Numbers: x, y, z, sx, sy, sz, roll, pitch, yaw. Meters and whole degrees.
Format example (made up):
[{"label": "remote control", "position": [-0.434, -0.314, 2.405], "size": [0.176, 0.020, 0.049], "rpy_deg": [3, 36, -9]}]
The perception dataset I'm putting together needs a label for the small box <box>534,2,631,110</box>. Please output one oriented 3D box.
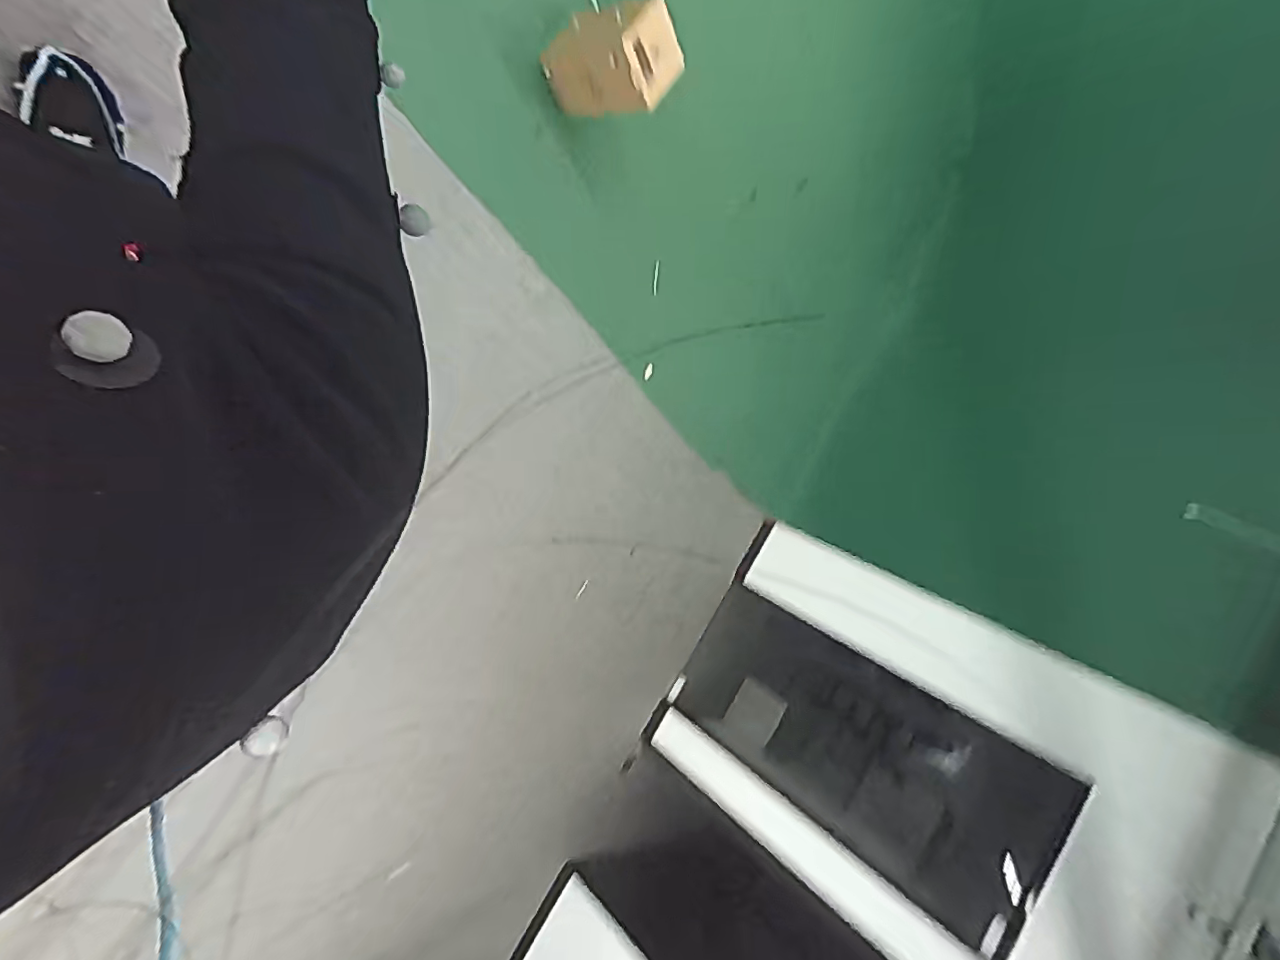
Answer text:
[{"label": "small box", "position": [-0.164, -1.153, 1.484], "size": [0.179, 0.176, 0.168], "rpy_deg": [-57, 144, -6]}]
